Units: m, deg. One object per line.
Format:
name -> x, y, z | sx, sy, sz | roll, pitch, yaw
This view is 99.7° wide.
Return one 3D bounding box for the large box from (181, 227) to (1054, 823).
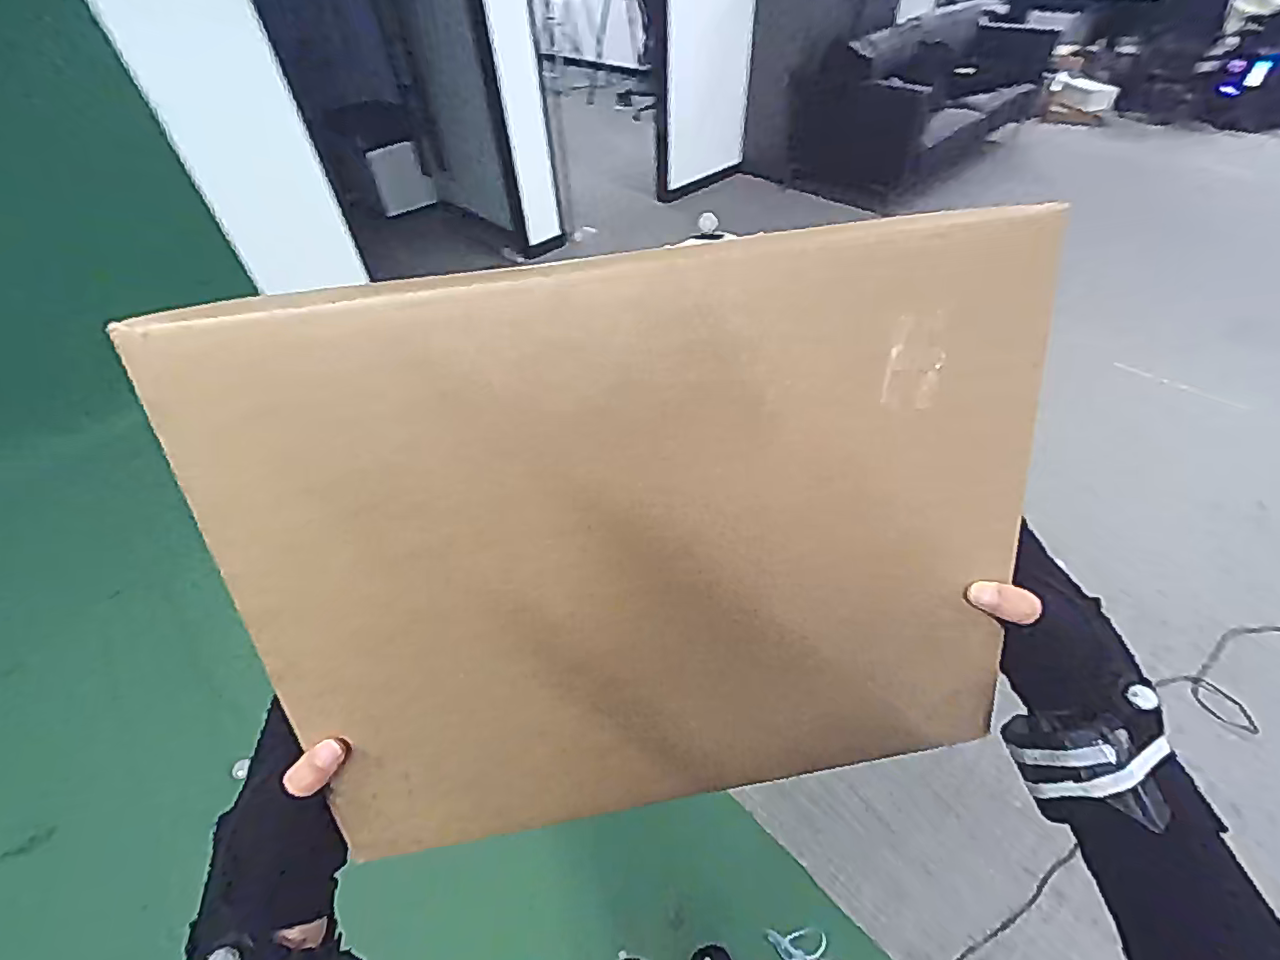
large box -> -0.003, -0.003, 0.429 | 0.408, 0.320, 0.320 | -7, 22, -4
